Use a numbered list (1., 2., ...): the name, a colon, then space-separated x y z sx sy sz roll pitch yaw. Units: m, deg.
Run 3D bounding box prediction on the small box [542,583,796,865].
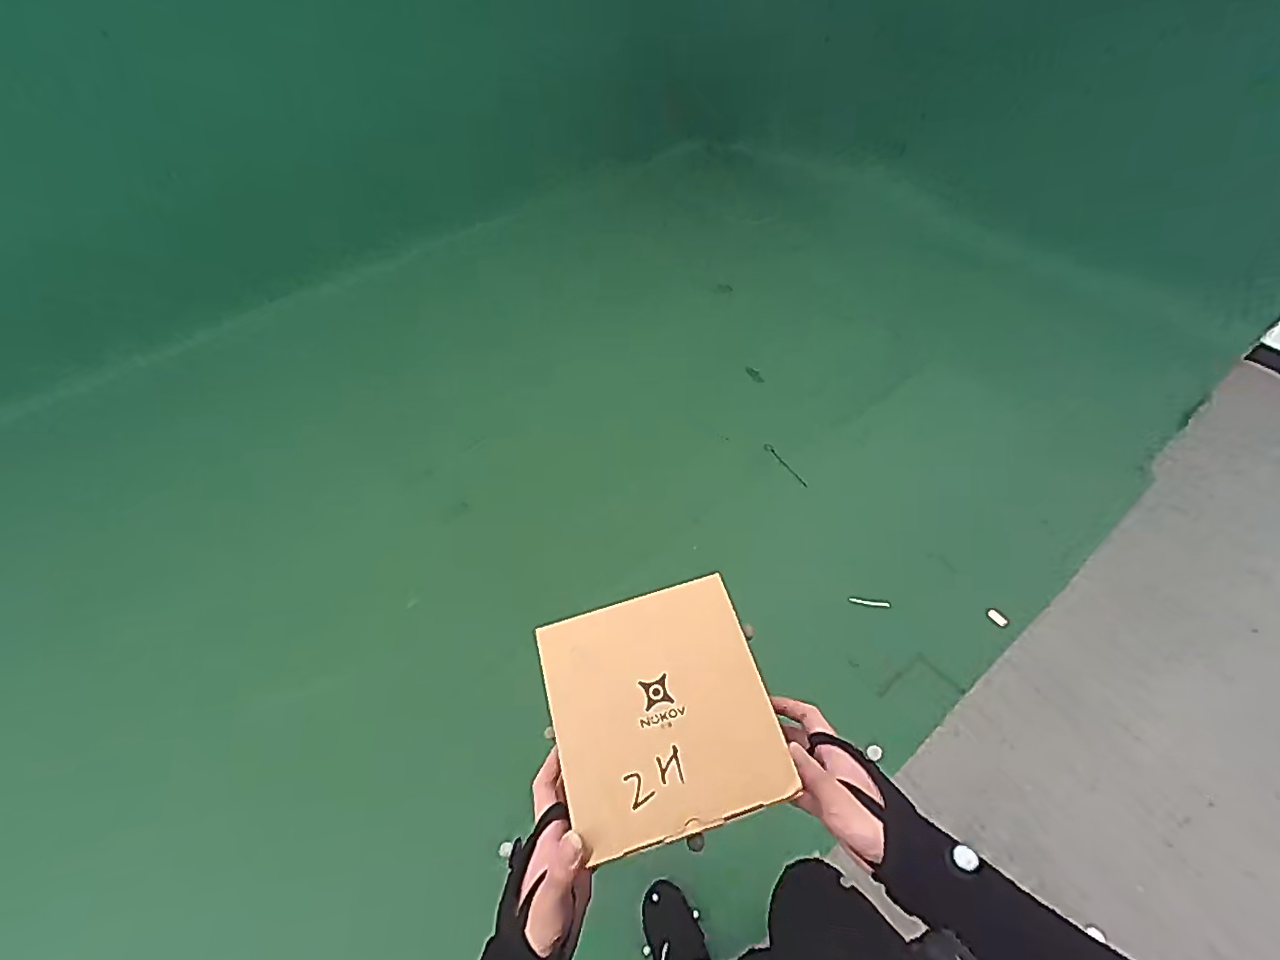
1. small box: 0.019 0.221 0.494 0.168 0.176 0.179 -15 59 -4
